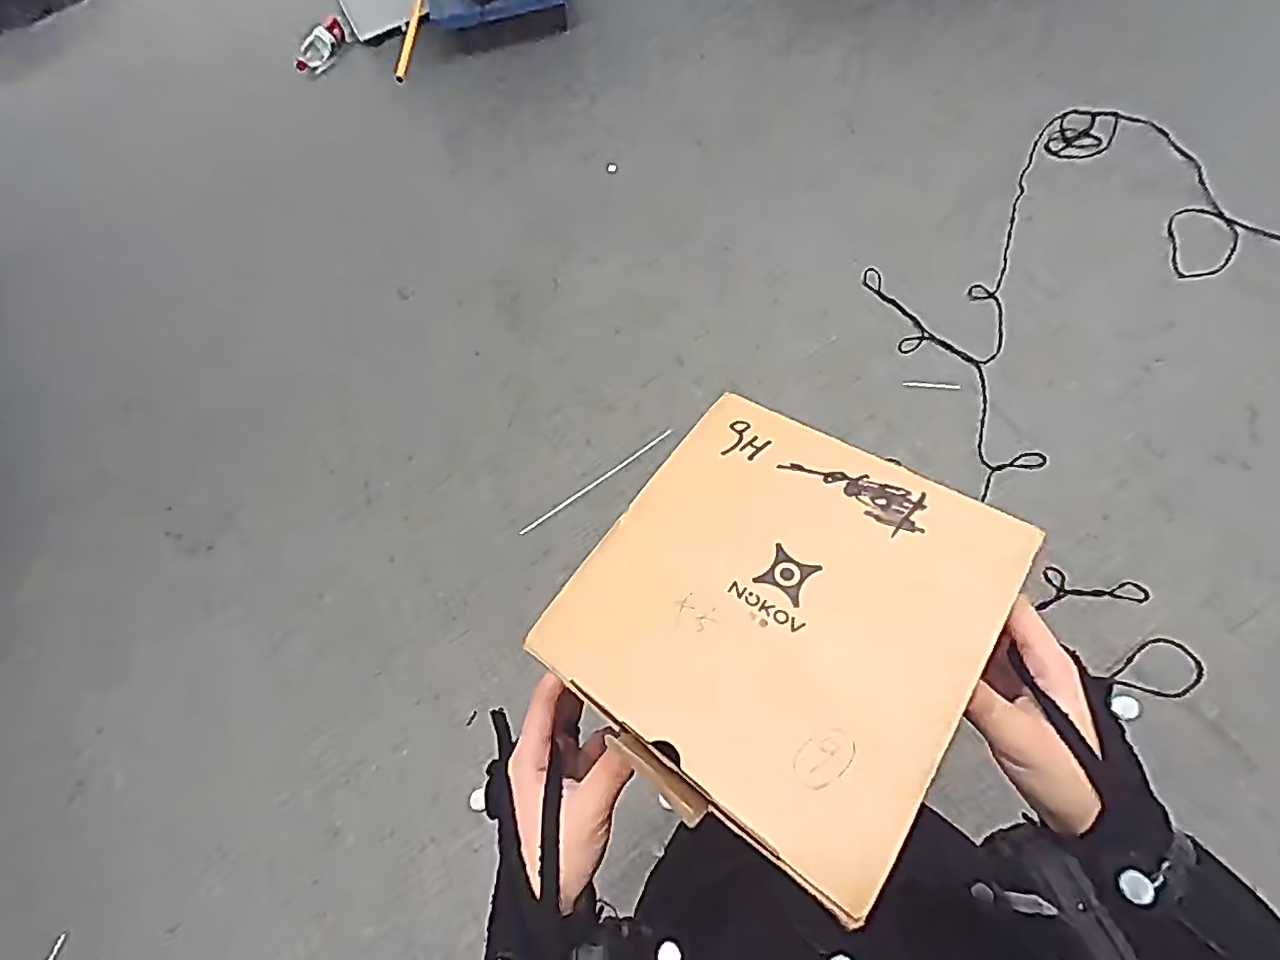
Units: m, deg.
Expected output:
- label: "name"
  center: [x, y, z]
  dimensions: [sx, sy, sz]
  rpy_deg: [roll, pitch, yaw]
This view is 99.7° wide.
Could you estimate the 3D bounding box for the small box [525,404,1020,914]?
- label: "small box"
  center: [0.072, 0.095, 0.316]
  dimensions: [0.168, 0.176, 0.179]
  rpy_deg: [30, 69, 26]
